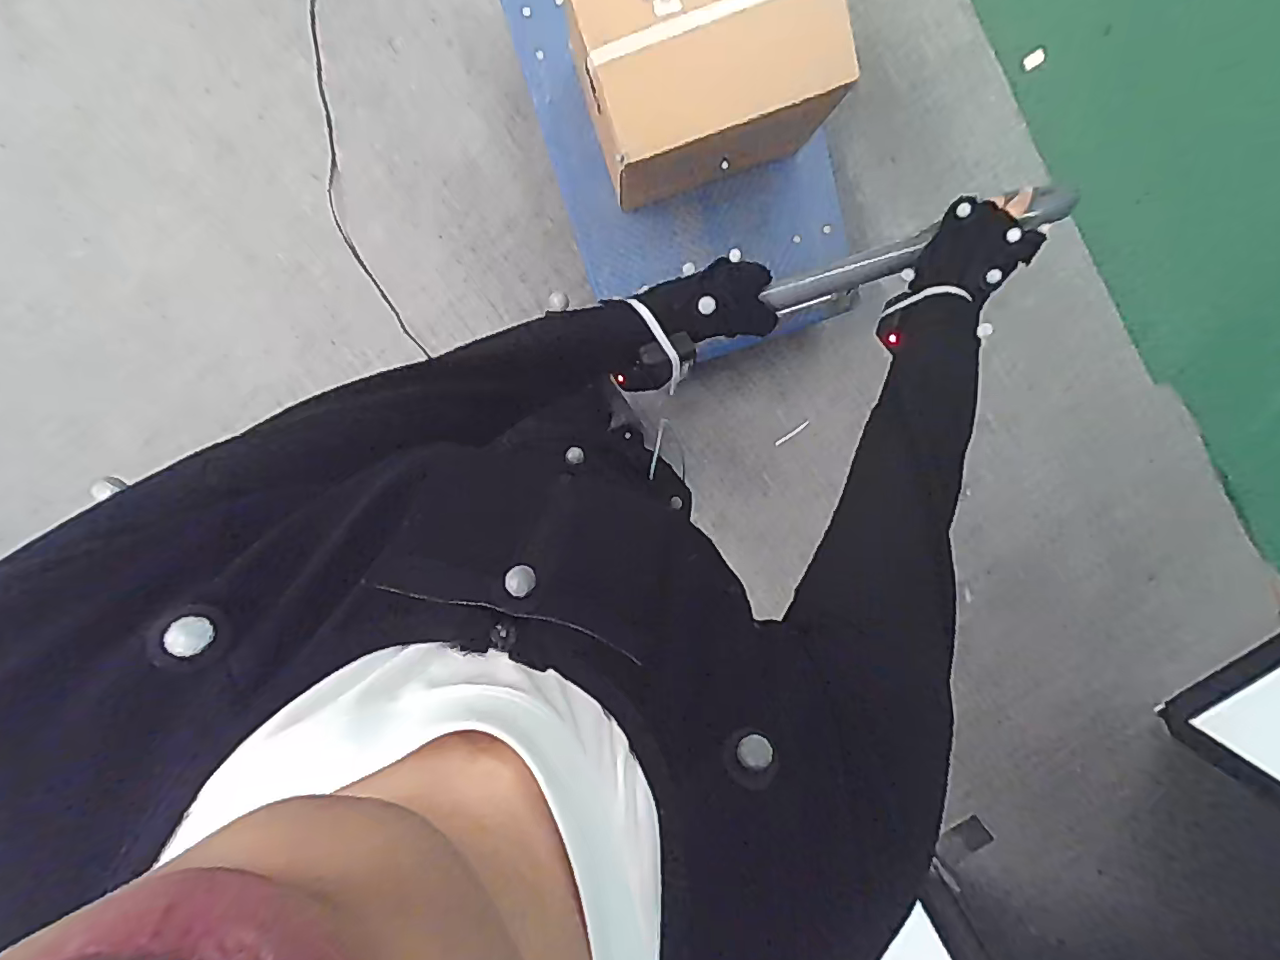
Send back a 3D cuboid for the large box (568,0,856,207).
[{"bbox_3d":[0.113,-0.758,0.992,0.408,0.320,0.320,-19,103,3],"label":"large box"}]
